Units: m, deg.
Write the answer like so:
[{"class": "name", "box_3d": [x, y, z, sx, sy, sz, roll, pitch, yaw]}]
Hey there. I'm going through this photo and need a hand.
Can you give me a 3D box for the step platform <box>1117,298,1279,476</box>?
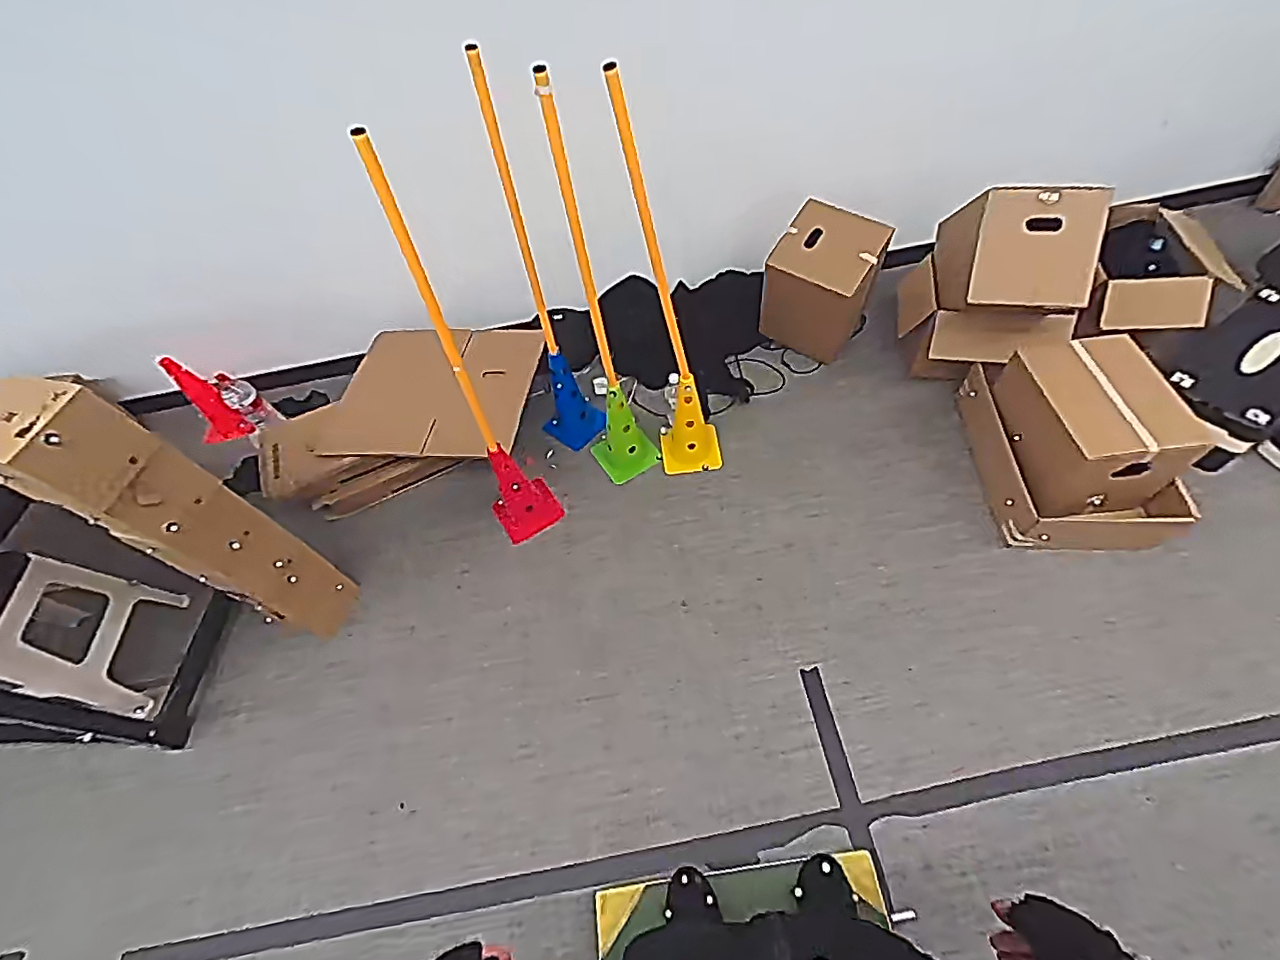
[{"class": "step platform", "box_3d": [1.895, -0.314, 1.734, 0.684, 0.204, 0.286, -35, 59, -15]}]
